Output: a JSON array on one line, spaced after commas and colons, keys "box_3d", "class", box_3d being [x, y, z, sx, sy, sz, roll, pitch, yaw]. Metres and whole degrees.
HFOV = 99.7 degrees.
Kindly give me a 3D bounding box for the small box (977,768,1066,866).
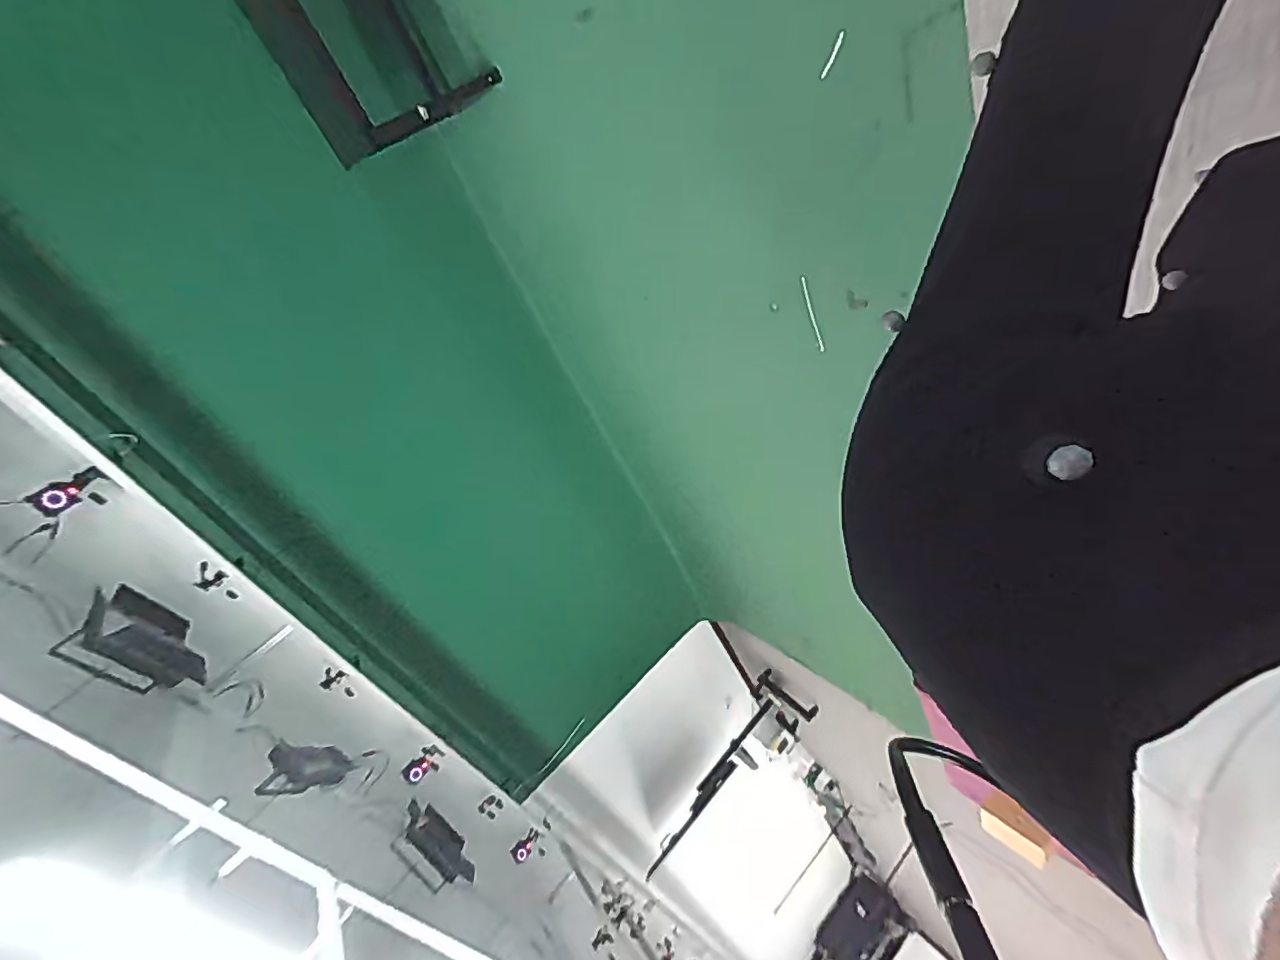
[{"box_3d": [1.179, 1.032, 1.677, 0.179, 0.176, 0.168, 22, 147, 48], "class": "small box"}]
